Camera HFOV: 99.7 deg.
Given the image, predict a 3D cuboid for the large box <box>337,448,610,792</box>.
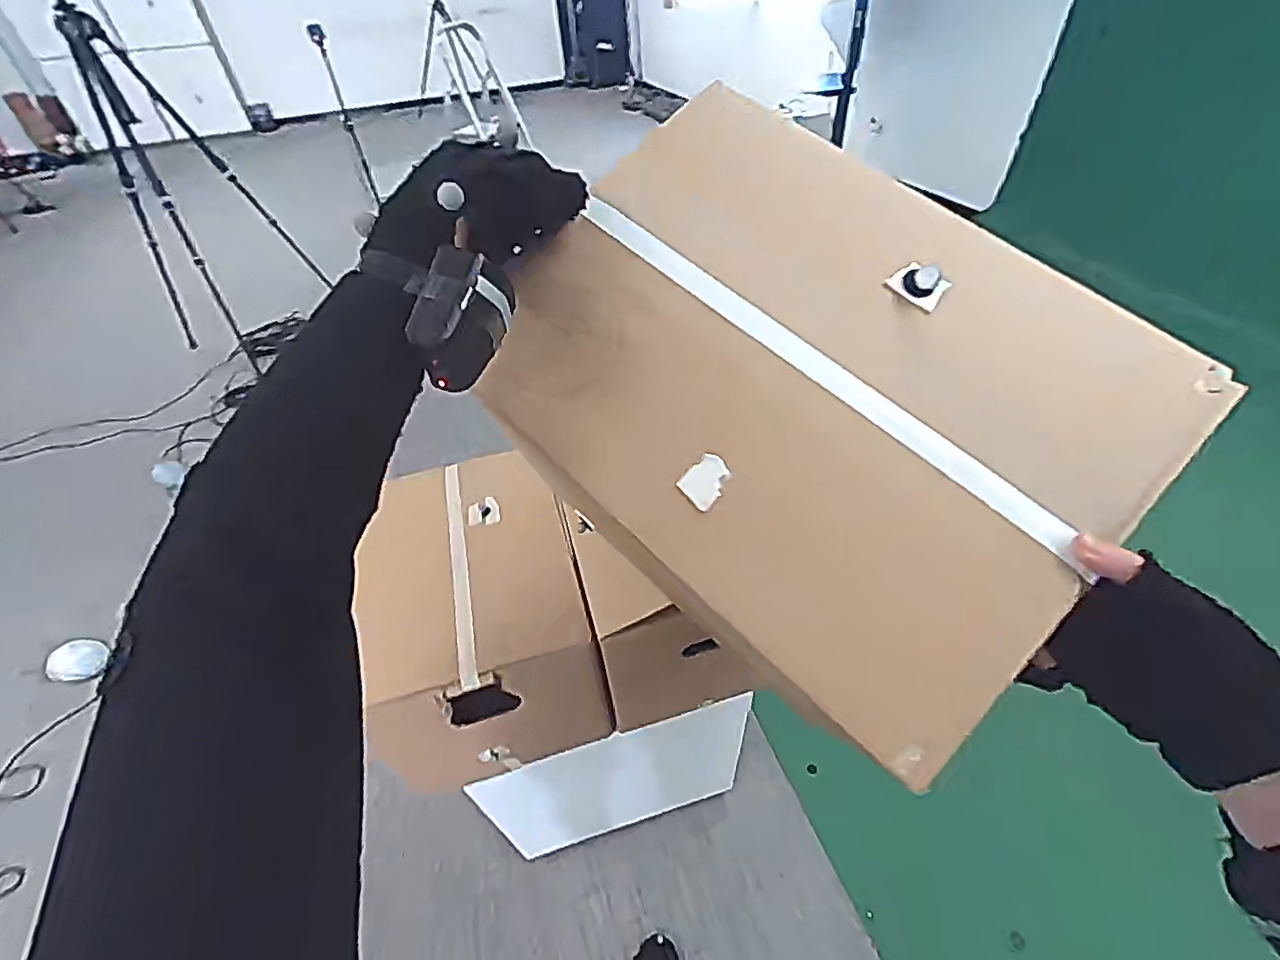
[{"bbox_3d":[-0.260,0.215,0.898,0.320,0.320,0.408,-14,44,-10],"label":"large box"}]
